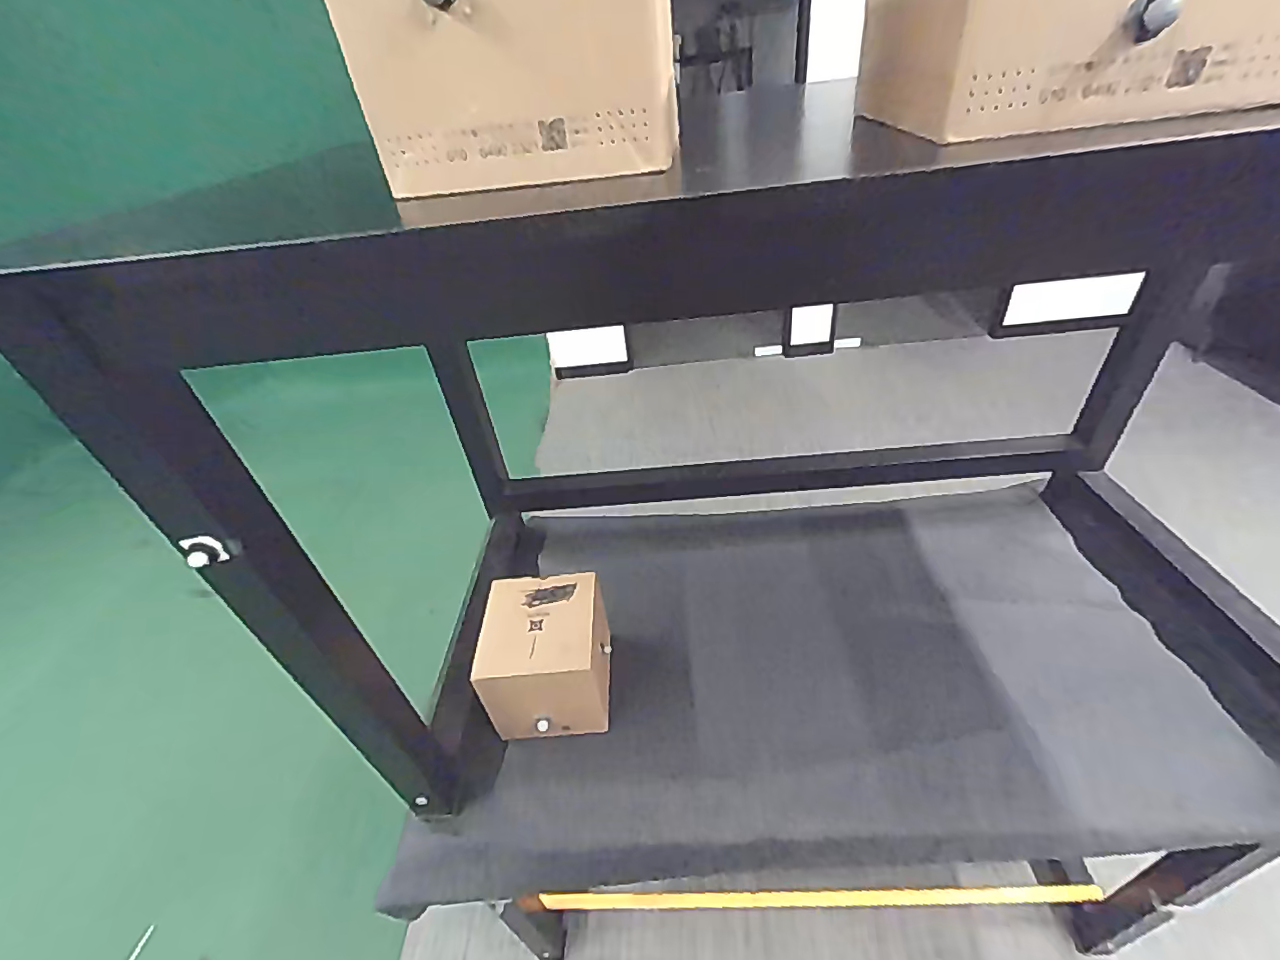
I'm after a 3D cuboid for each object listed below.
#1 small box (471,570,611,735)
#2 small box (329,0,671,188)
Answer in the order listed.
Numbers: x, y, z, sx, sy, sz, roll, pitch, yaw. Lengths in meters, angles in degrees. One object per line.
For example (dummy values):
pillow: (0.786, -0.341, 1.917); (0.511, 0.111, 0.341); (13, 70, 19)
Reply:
small box: (-0.138, 0.262, 0.828); (0.168, 0.176, 0.179); (-6, 38, 3)
small box: (-0.071, -0.288, 0.332); (0.168, 0.176, 0.179); (-2, 37, 8)
